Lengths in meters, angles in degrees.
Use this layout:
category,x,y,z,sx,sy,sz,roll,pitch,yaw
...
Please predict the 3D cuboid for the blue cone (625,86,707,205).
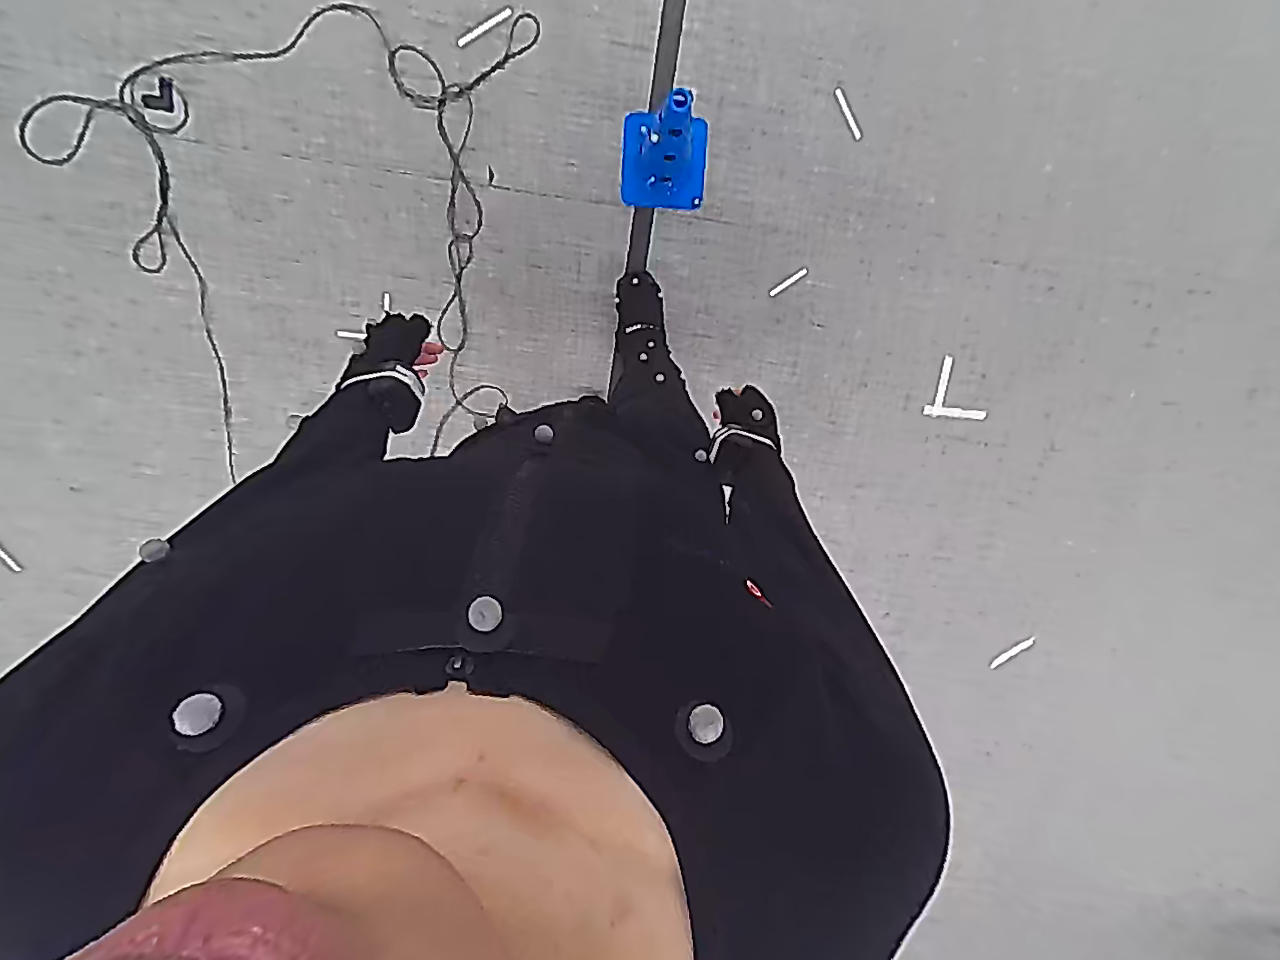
category,x,y,z,sx,sy,sz,roll,pitch,yaw
blue cone,0.070,-0.722,1.131,0.192,0.380,0.193,4,104,-4
